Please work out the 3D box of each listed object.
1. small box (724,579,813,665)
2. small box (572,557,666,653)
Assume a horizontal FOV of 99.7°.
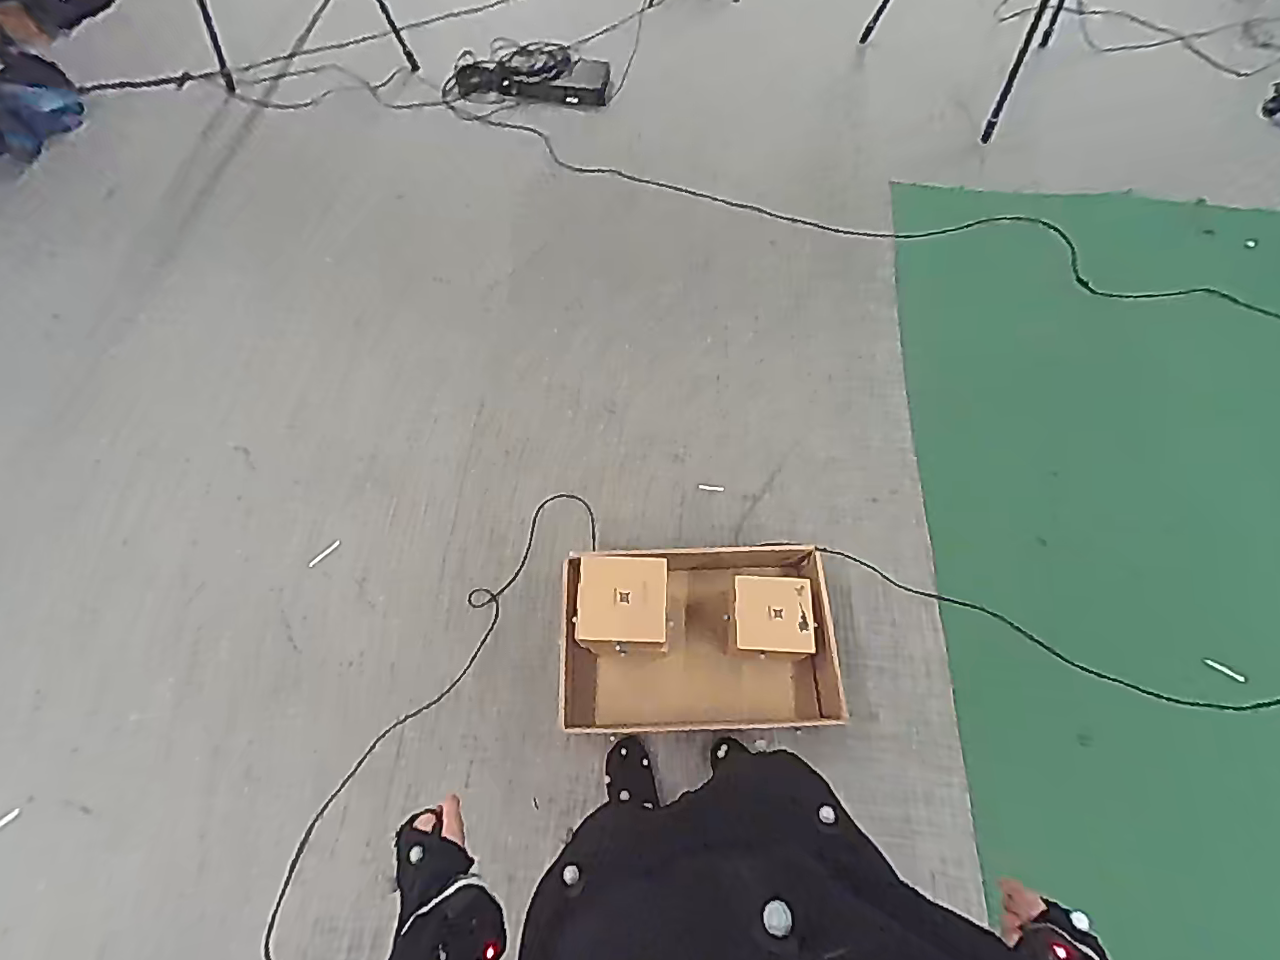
[{"bbox_3d":[0.294,0.338,1.273,0.179,0.176,0.168,3,66,2],"label":"small box"},{"bbox_3d":[-0.039,0.266,1.124,0.179,0.176,0.168,3,67,0],"label":"small box"}]
